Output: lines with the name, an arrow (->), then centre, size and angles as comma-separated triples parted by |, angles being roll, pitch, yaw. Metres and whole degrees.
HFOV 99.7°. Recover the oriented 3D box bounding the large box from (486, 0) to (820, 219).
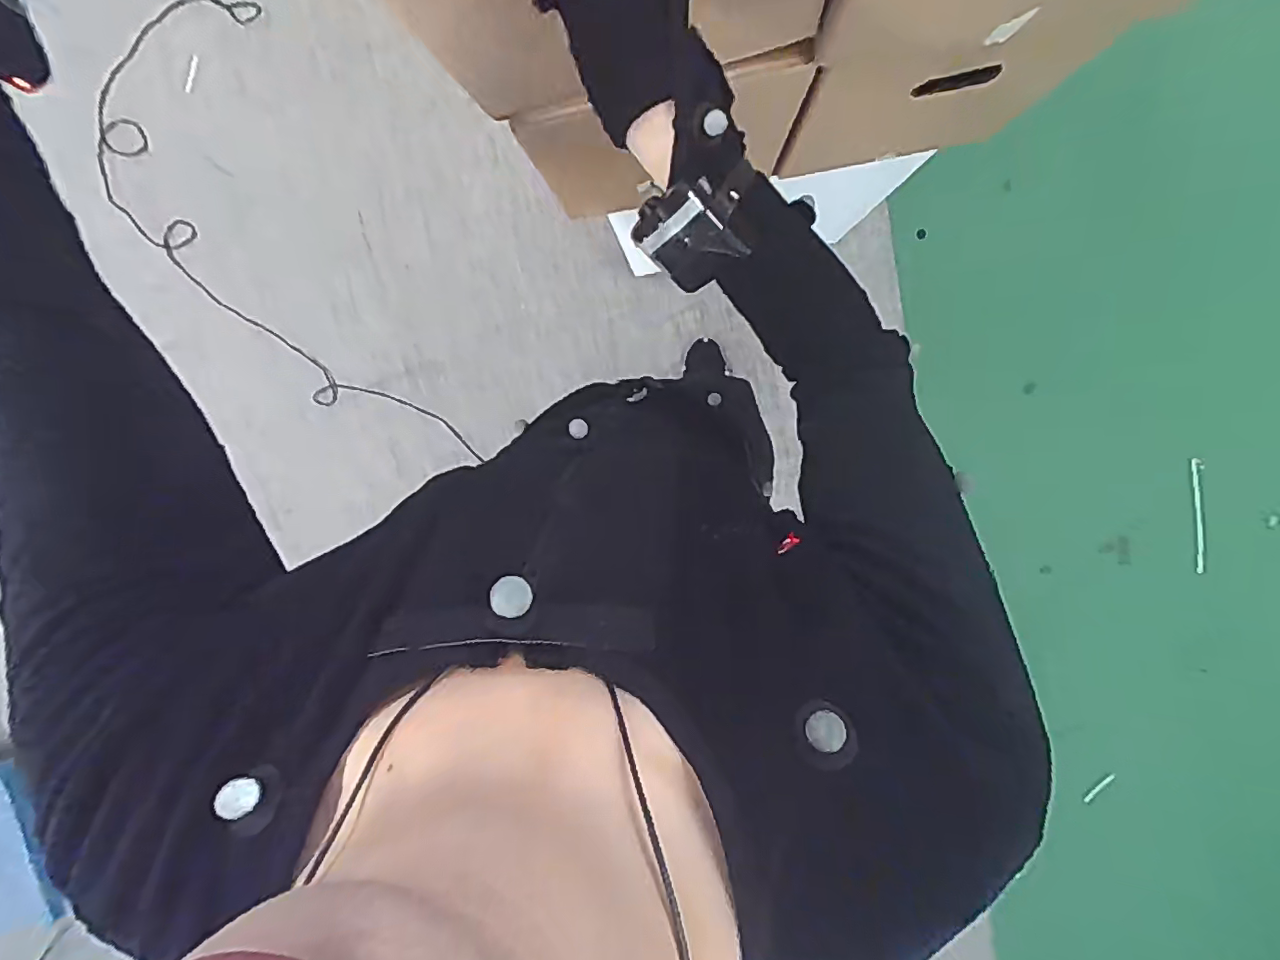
large box -> -0.004, -0.598, 0.651 | 0.320, 0.320, 0.408 | -10, 97, 4
